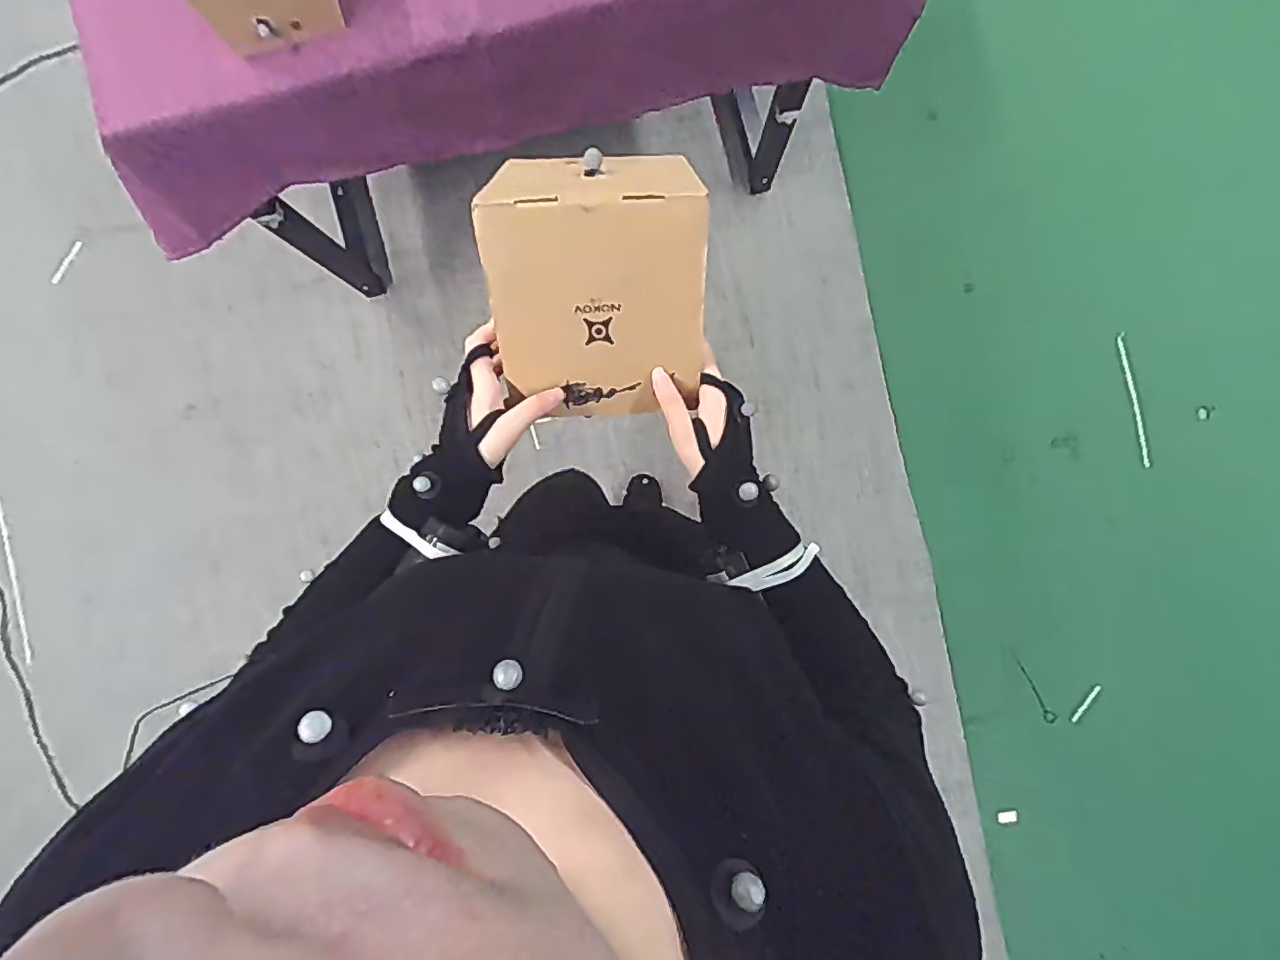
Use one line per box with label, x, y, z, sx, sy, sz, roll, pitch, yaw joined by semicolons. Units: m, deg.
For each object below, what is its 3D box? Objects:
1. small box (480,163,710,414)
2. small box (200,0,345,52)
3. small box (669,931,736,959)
small box;-0.034;-0.179;0.490;0.168;0.176;0.179;-2;129;-1
small box;-0.530;-0.733;0.721;0.168;0.176;0.179;-13;90;1
small box;0.166;1.281;1.360;0.168;0.176;0.179;-7;89;1
